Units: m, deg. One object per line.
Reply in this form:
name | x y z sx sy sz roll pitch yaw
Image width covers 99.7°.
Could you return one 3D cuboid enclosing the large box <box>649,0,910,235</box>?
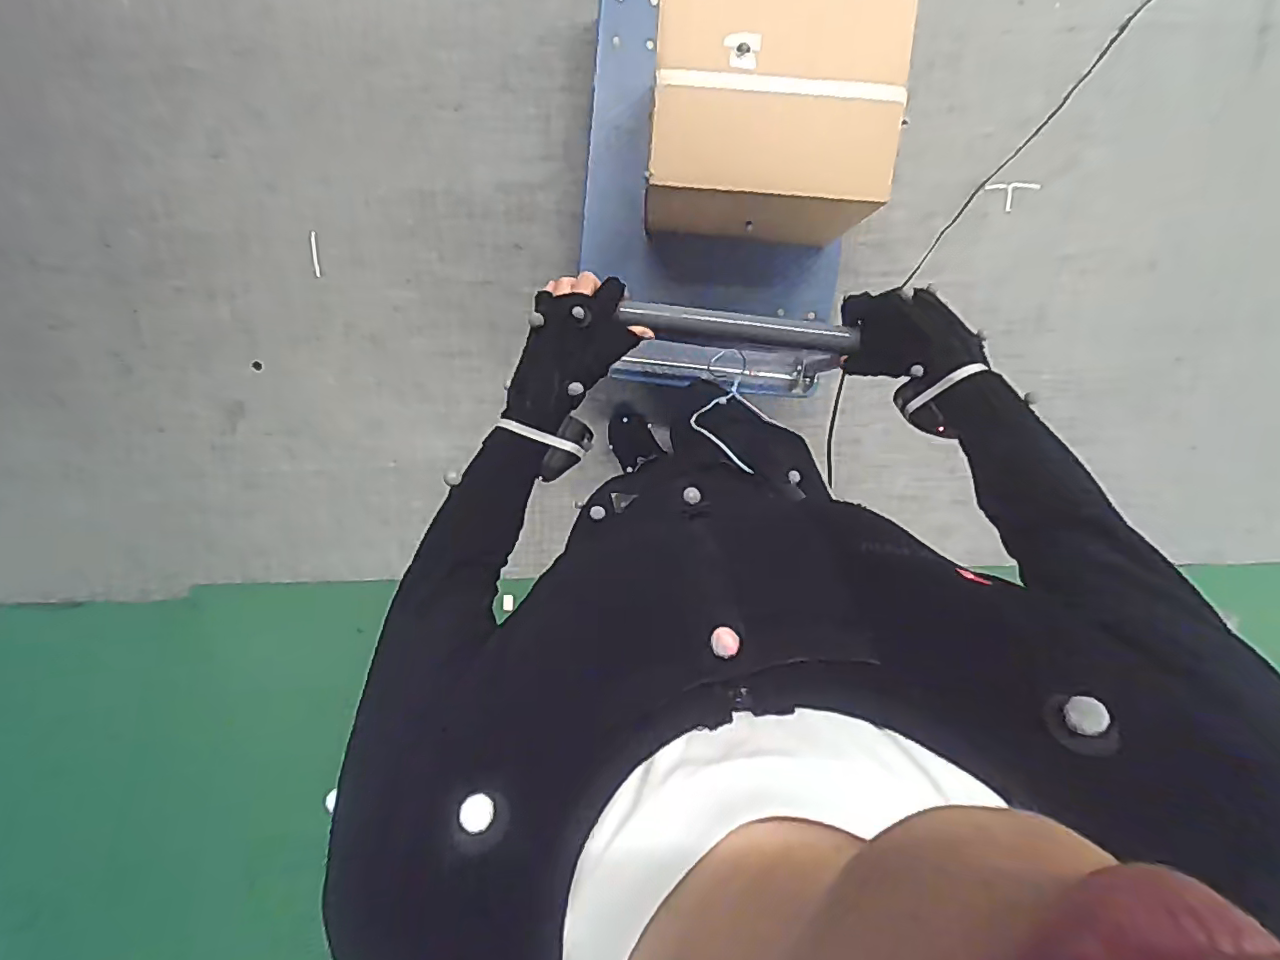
large box | 0.227 -0.666 1.025 0.408 0.320 0.320 3 101 1
